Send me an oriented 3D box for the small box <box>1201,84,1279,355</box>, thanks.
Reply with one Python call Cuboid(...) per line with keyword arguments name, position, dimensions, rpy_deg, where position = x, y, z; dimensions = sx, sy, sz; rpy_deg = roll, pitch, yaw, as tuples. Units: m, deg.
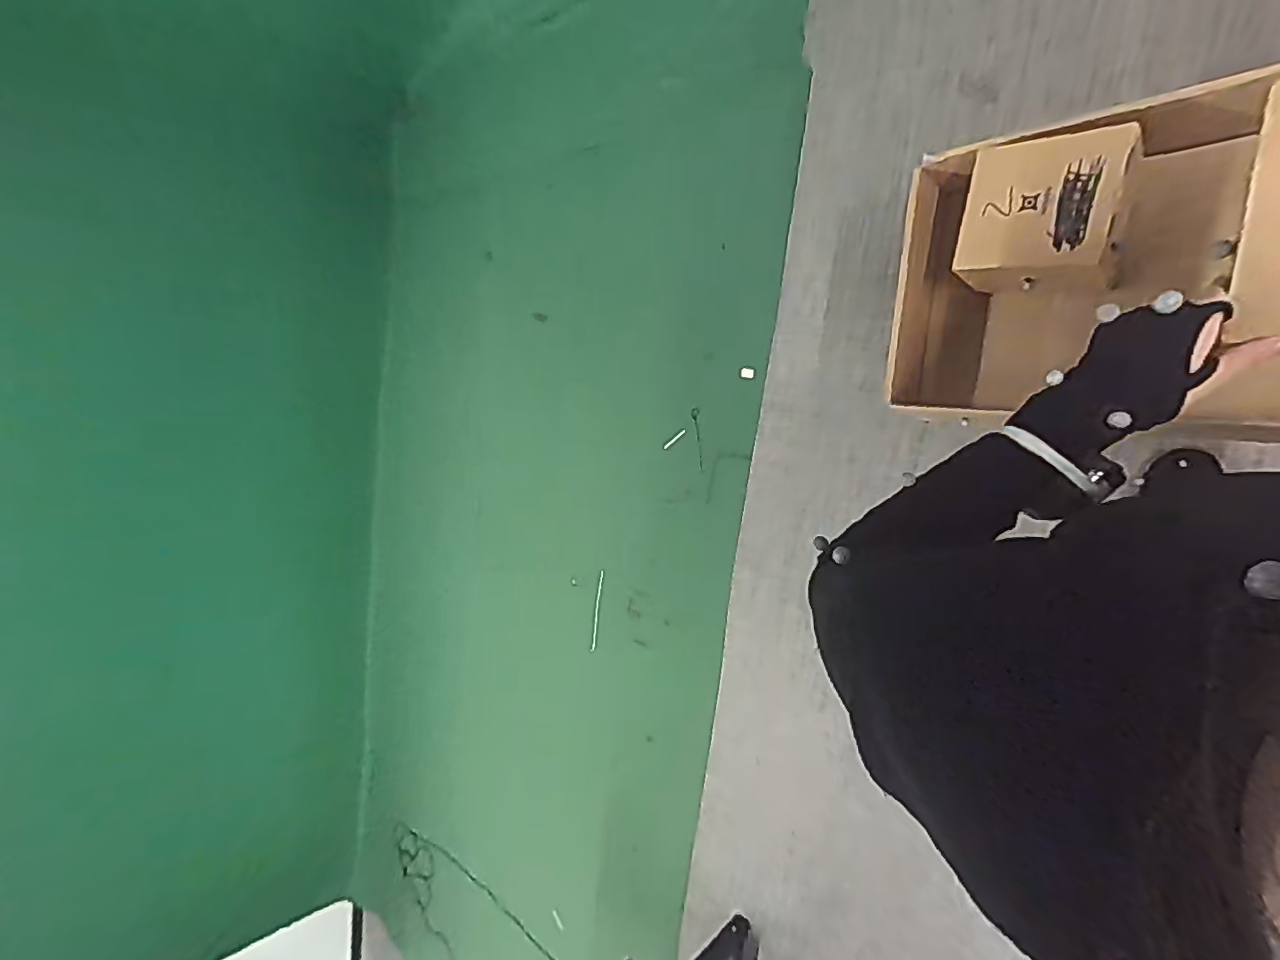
Cuboid(name="small box", position=(0.535, -0.179, 0.383), dimensions=(0.168, 0.176, 0.179), rpy_deg=(13, 106, 44))
